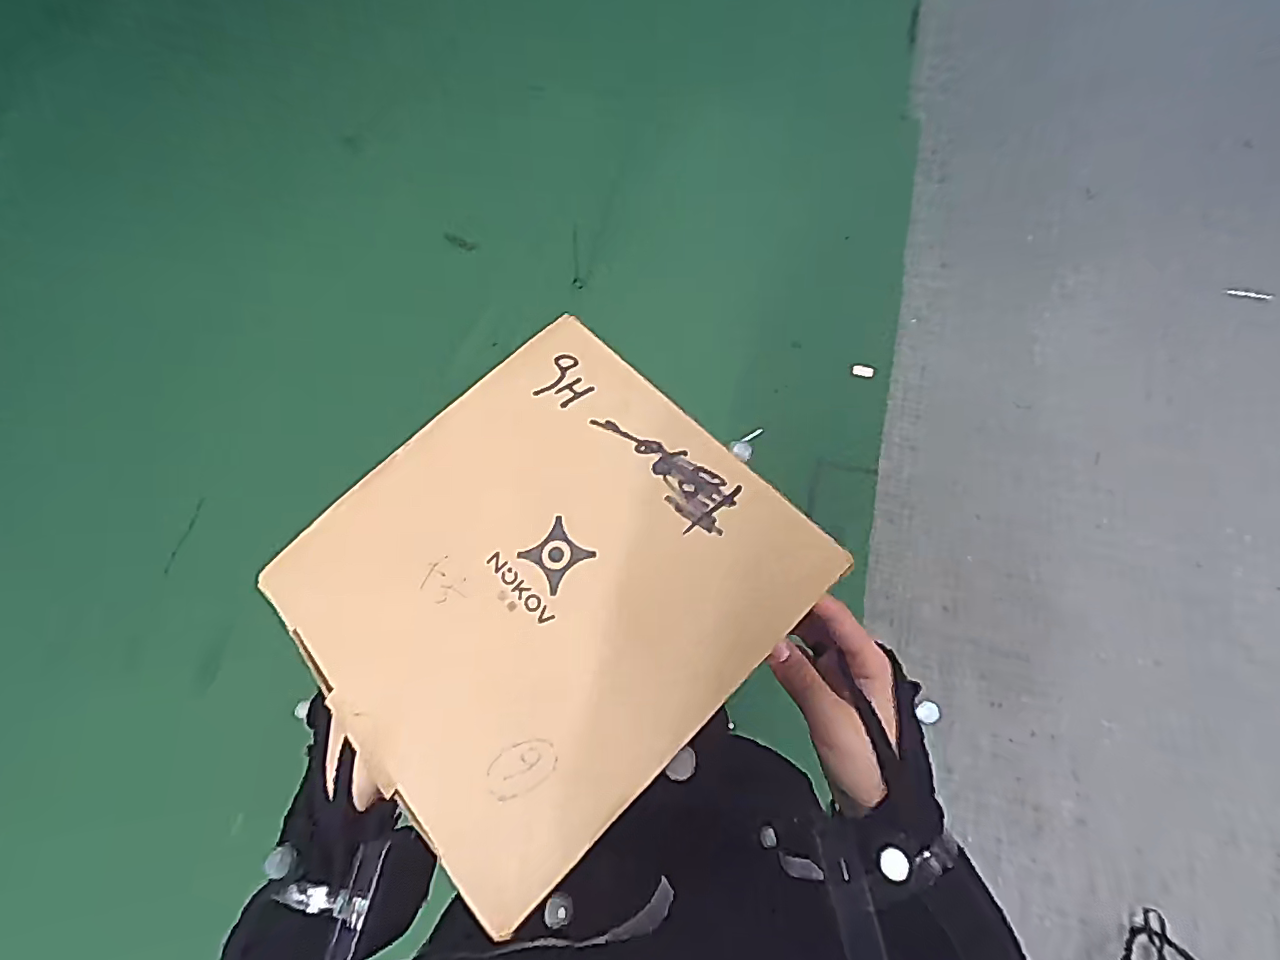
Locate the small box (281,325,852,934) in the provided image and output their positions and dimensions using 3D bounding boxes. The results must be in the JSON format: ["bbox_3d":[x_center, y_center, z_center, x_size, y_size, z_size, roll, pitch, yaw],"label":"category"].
[{"bbox_3d":[-0.025,0.065,0.285,0.179,0.176,0.168,-42,71,-9],"label":"small box"}]
